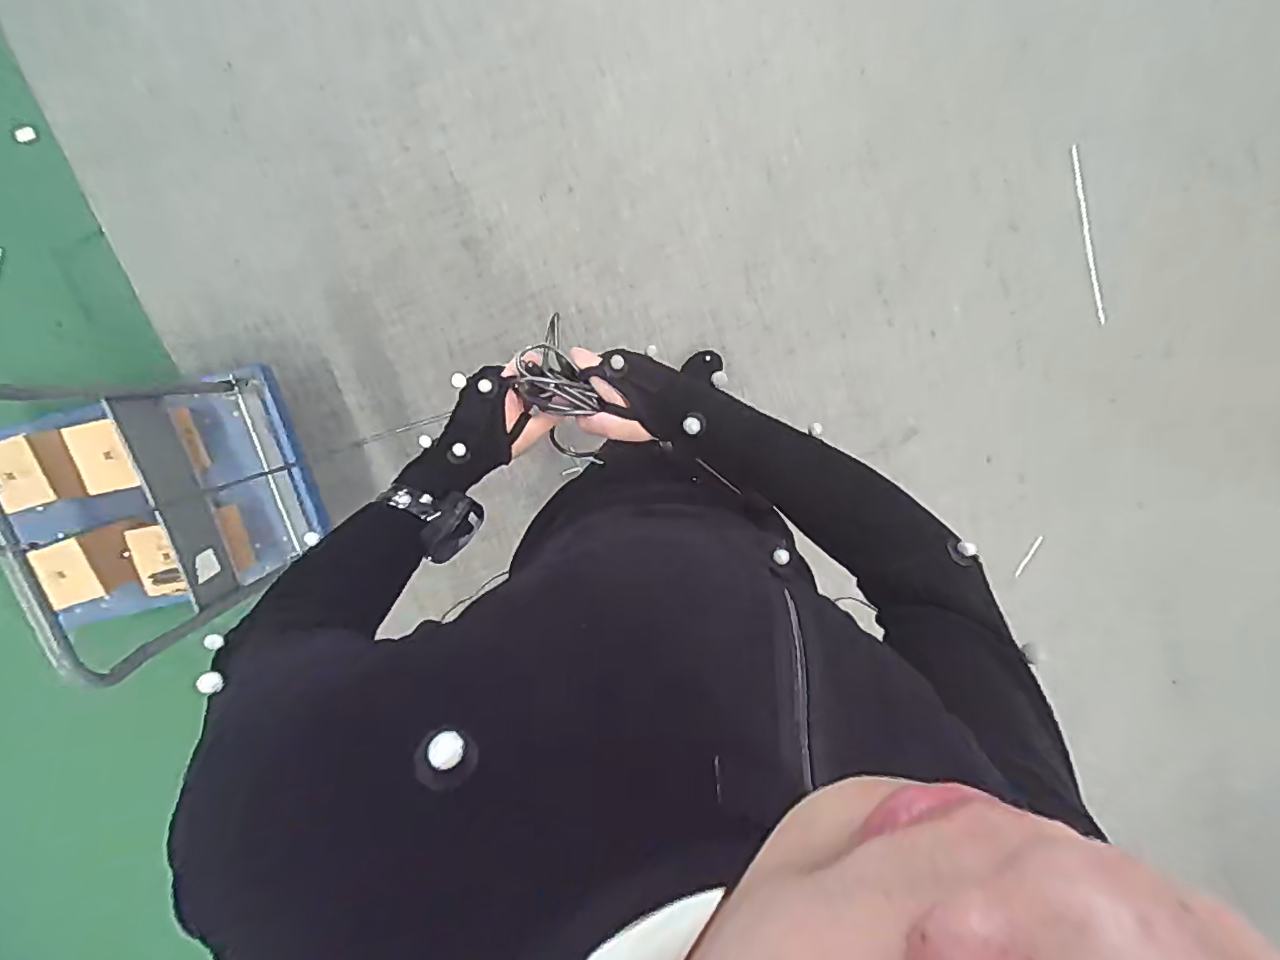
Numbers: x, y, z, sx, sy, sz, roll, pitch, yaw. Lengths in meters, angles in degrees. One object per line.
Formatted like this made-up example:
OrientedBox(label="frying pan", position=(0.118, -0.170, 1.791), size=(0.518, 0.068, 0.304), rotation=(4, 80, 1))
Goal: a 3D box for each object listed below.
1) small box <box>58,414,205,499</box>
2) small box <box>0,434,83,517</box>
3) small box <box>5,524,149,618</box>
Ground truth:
OrientedBox(label="small box", position=(-1.242, -0.064, 1.334), size=(0.179, 0.176, 0.168), rotation=(-12, 102, 1))
OrientedBox(label="small box", position=(-1.495, -0.015, 1.343), size=(0.179, 0.176, 0.168), rotation=(-15, 103, 2))
OrientedBox(label="small box", position=(-1.432, 0.228, 1.396), size=(0.179, 0.176, 0.168), rotation=(-16, 101, 3))
